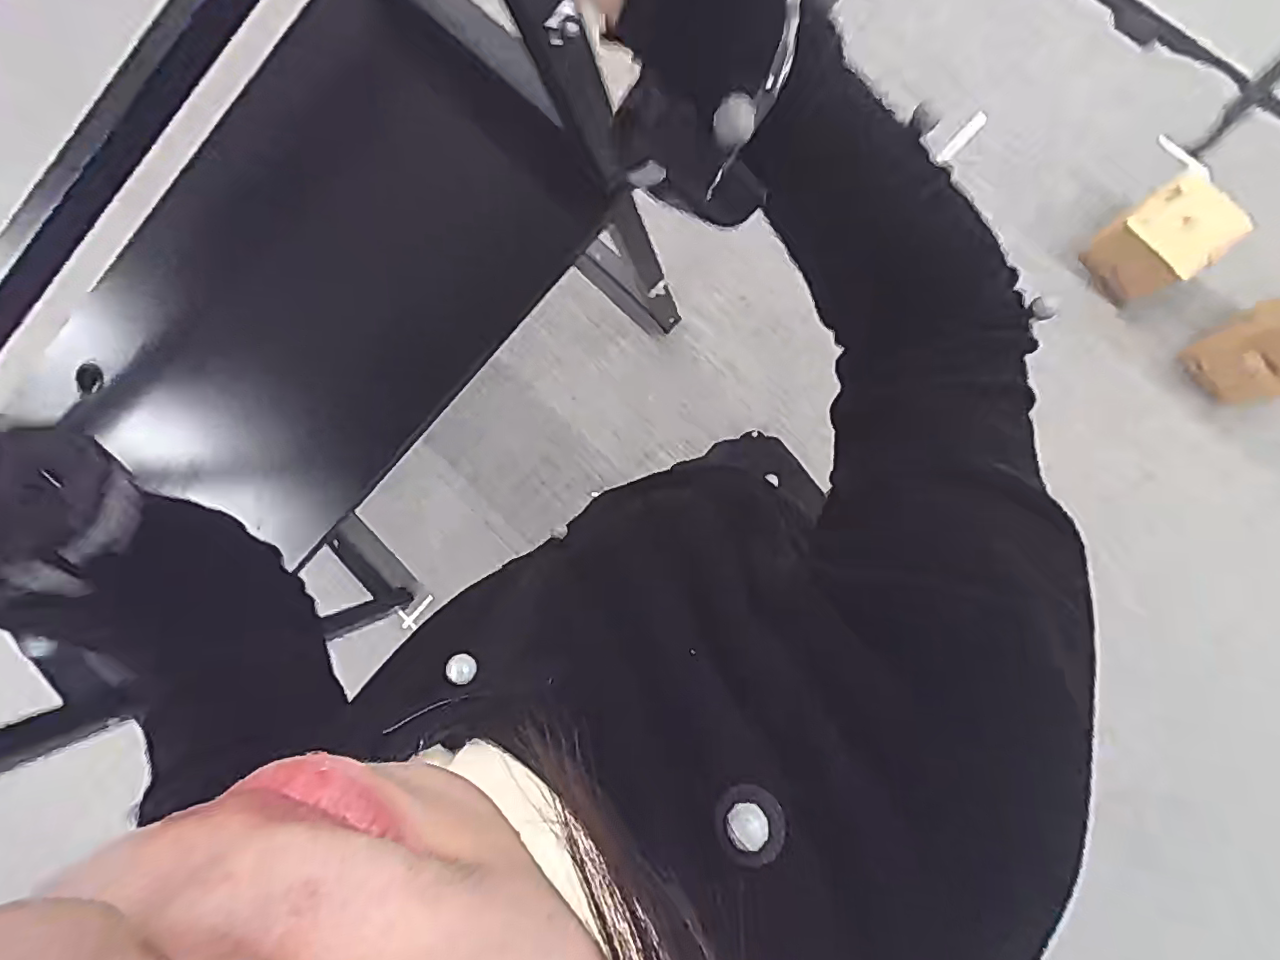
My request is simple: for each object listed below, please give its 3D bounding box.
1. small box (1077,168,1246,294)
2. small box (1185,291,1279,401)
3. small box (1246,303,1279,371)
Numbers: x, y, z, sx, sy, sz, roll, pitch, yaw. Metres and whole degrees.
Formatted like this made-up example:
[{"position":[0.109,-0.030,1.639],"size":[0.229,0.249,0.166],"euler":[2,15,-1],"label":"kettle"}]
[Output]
[{"position":[1.154,-0.542,1.214],"size":[0.168,0.176,0.179],"euler":[-41,86,8],"label":"small box"},{"position":[1.371,-0.293,1.185],"size":[0.179,0.176,0.168],"euler":[-41,85,7],"label":"small box"},{"position":[1.350,-0.290,1.023],"size":[0.168,0.176,0.179],"euler":[-39,85,7],"label":"small box"}]
